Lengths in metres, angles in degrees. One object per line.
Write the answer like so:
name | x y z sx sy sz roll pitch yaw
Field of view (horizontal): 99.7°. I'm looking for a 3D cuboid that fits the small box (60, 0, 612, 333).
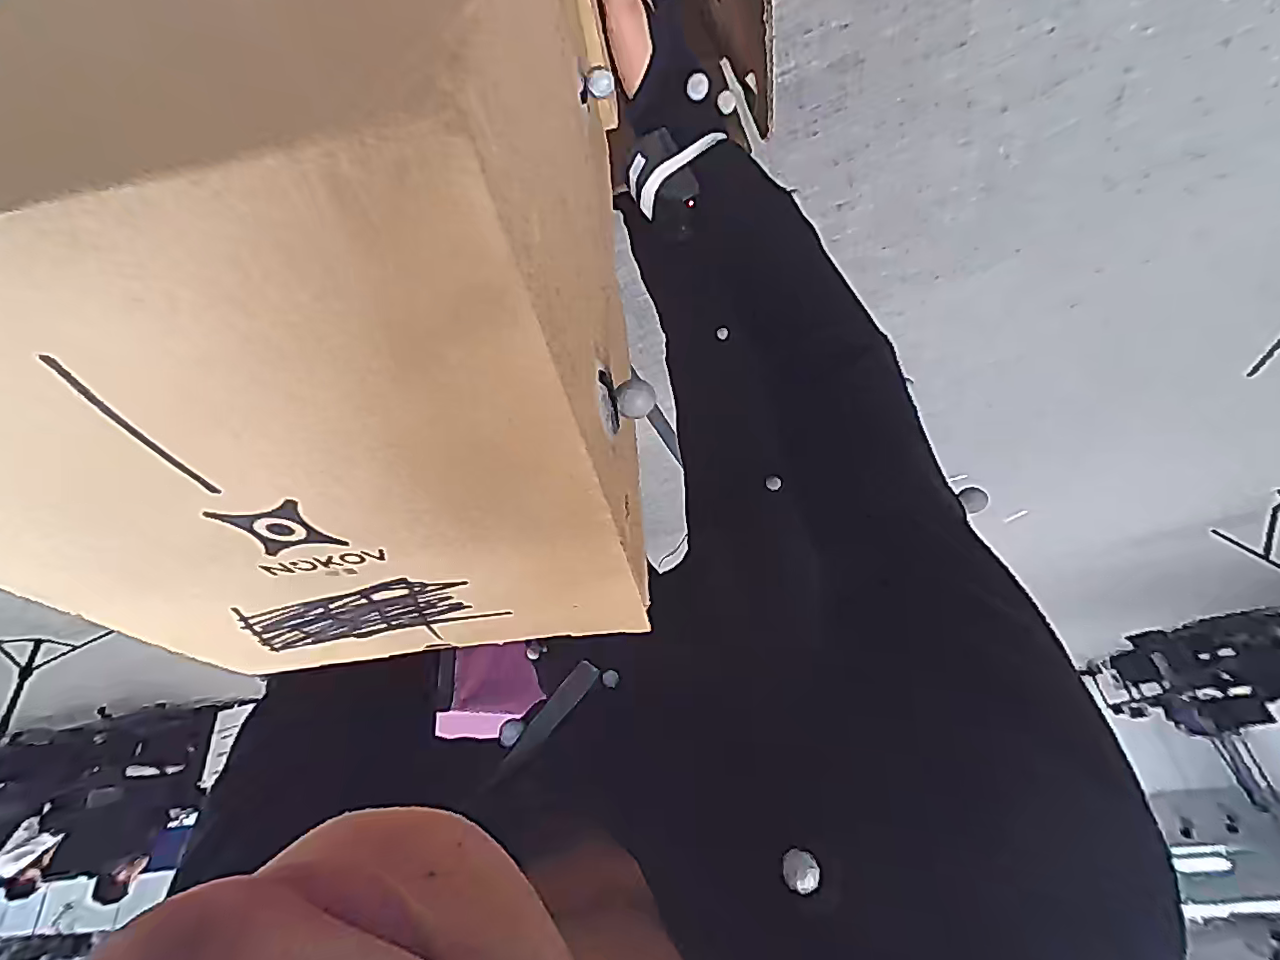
small box | -0.108 -0.204 0.267 0.168 0.176 0.179 -8 145 4
